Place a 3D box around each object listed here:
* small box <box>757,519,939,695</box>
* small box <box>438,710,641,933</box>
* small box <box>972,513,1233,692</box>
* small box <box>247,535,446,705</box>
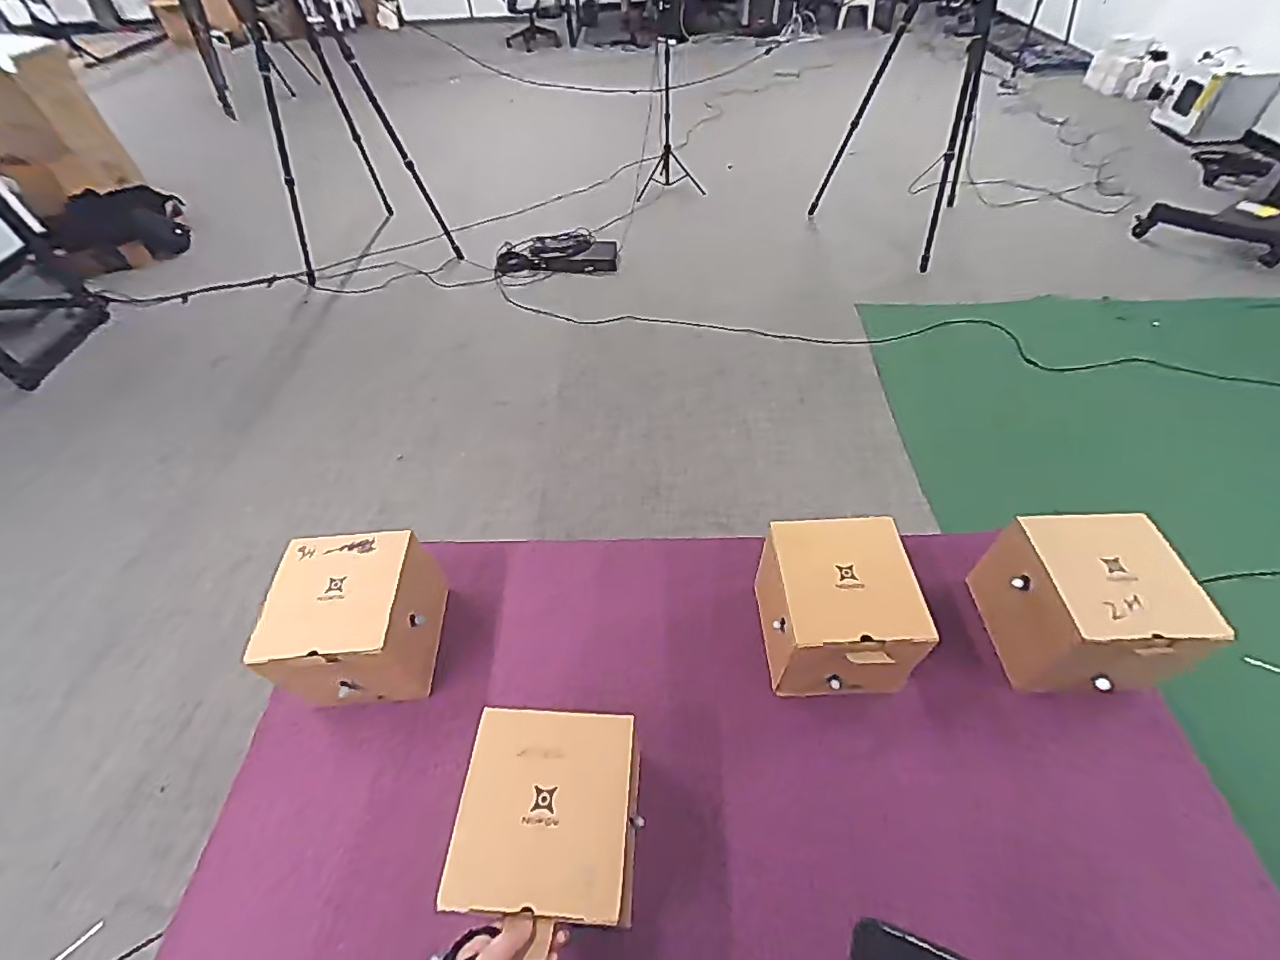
[{"bbox_3d":[0.260,0.172,0.730,0.168,0.176,0.179,-3,50,1],"label":"small box"},{"bbox_3d":[-0.088,0.369,0.584,0.168,0.176,0.179,2,49,4],"label":"small box"},{"bbox_3d":[0.578,0.162,0.713,0.168,0.176,0.179,-2,50,3],"label":"small box"},{"bbox_3d":[-0.382,0.198,0.745,0.168,0.176,0.179,-4,51,-1],"label":"small box"}]
